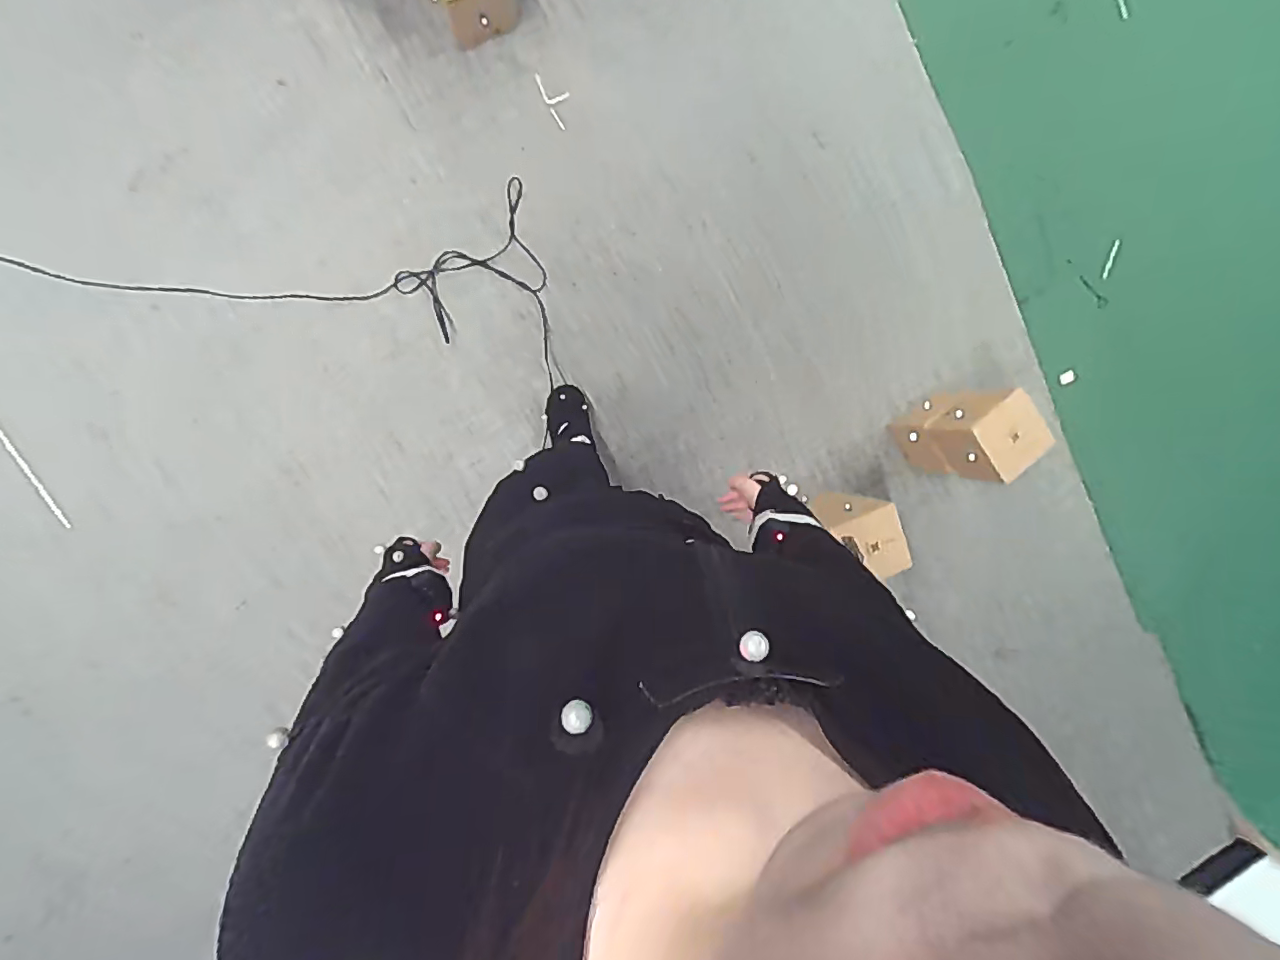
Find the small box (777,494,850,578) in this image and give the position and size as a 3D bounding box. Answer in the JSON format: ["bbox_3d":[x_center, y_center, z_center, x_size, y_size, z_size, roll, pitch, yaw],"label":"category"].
[{"bbox_3d":[0.498,0.149,1.497,0.179,0.176,0.168,-21,98,-5],"label":"small box"}]

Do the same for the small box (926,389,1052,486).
[{"bbox_3d":[0.869,-0.106,1.363,0.168,0.176,0.179,-38,100,-3],"label":"small box"}]

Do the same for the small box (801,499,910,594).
[{"bbox_3d":[0.519,0.156,1.333,0.179,0.176,0.168,-21,97,-7],"label":"small box"}]
